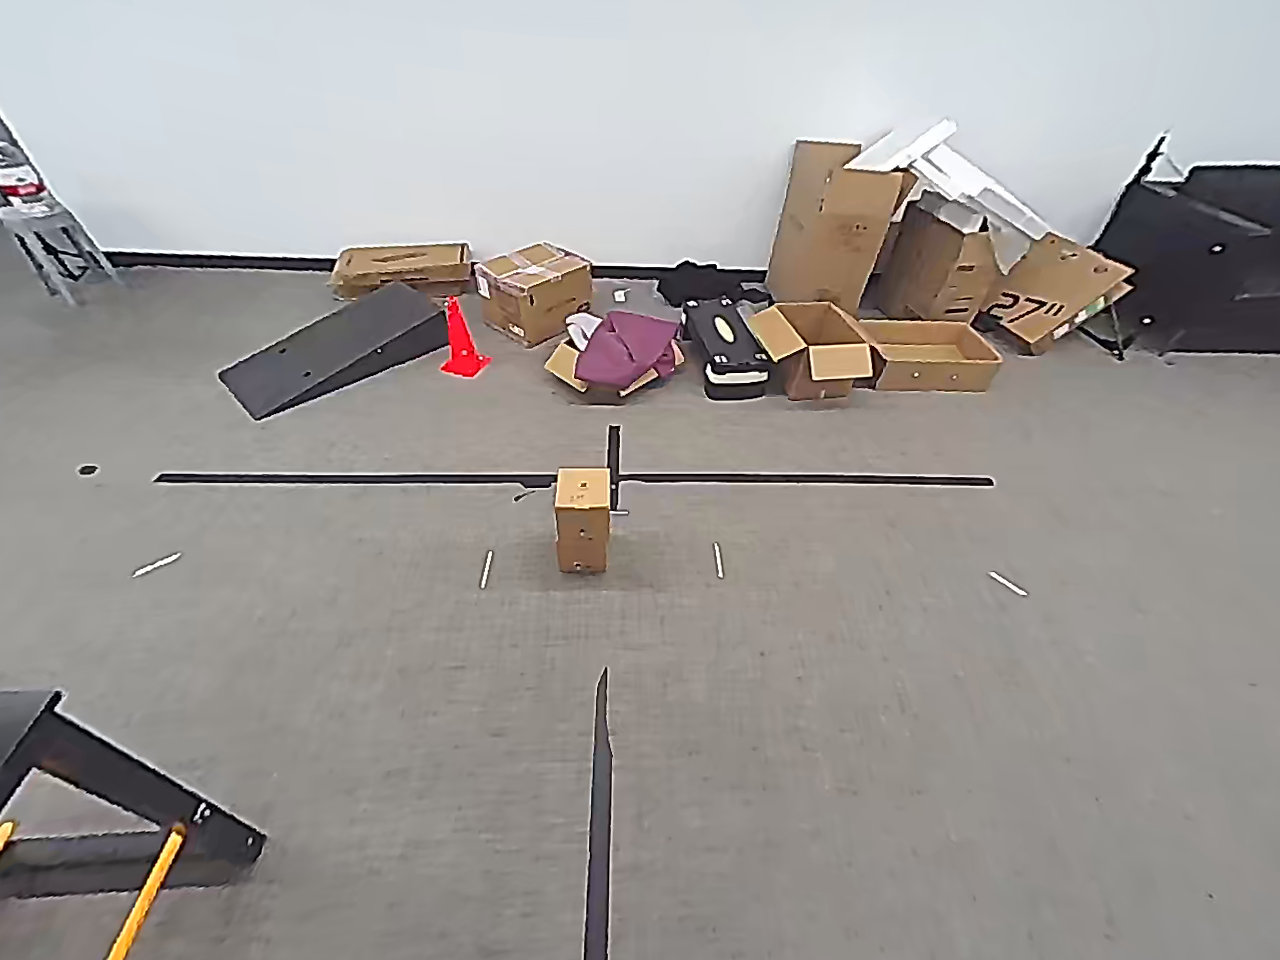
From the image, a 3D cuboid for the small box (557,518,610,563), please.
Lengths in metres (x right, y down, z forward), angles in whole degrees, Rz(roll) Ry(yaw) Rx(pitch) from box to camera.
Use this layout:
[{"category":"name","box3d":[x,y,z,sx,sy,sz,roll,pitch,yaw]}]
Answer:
[{"category":"small box","box3d":[-0.181,0.153,1.775,0.168,0.176,0.179,-1,45,-3]}]

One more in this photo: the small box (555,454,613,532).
[{"category":"small box","box3d":[-0.167,0.040,1.655,0.168,0.176,0.179,-1,44,-3]}]
